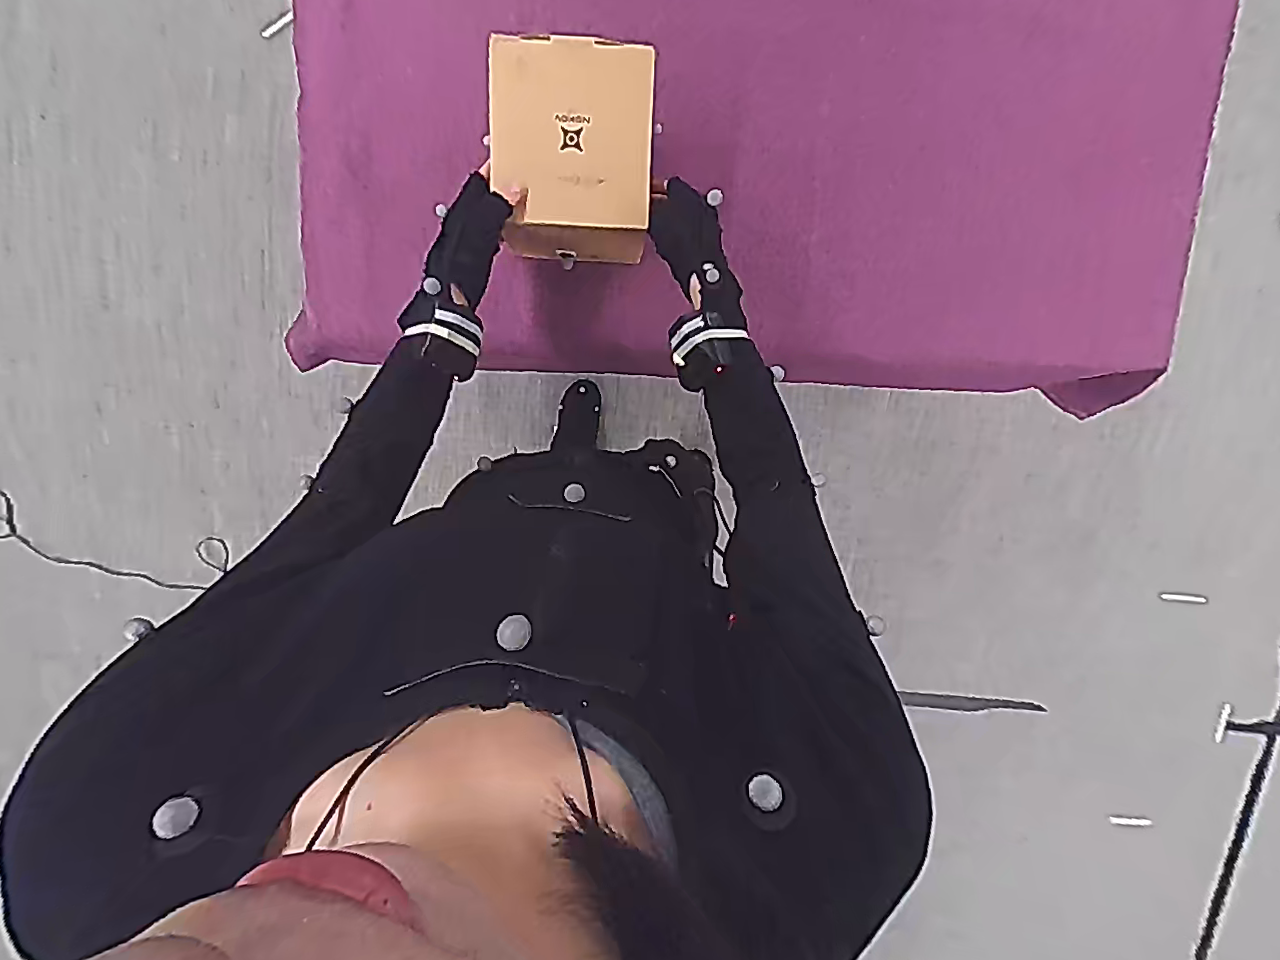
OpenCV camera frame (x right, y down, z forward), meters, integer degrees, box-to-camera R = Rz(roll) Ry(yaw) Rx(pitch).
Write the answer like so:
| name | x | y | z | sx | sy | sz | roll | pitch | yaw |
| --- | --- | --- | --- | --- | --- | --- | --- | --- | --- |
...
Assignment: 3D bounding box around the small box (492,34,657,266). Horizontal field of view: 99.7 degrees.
| name | x | y | z | sx | sy | sz | roll | pitch | yaw |
| --- | --- | --- | --- | --- | --- | --- | --- | --- | --- |
| small box | -0.072 | -0.362 | 0.625 | 0.168 | 0.176 | 0.179 | 1 | 99 | -3 |
